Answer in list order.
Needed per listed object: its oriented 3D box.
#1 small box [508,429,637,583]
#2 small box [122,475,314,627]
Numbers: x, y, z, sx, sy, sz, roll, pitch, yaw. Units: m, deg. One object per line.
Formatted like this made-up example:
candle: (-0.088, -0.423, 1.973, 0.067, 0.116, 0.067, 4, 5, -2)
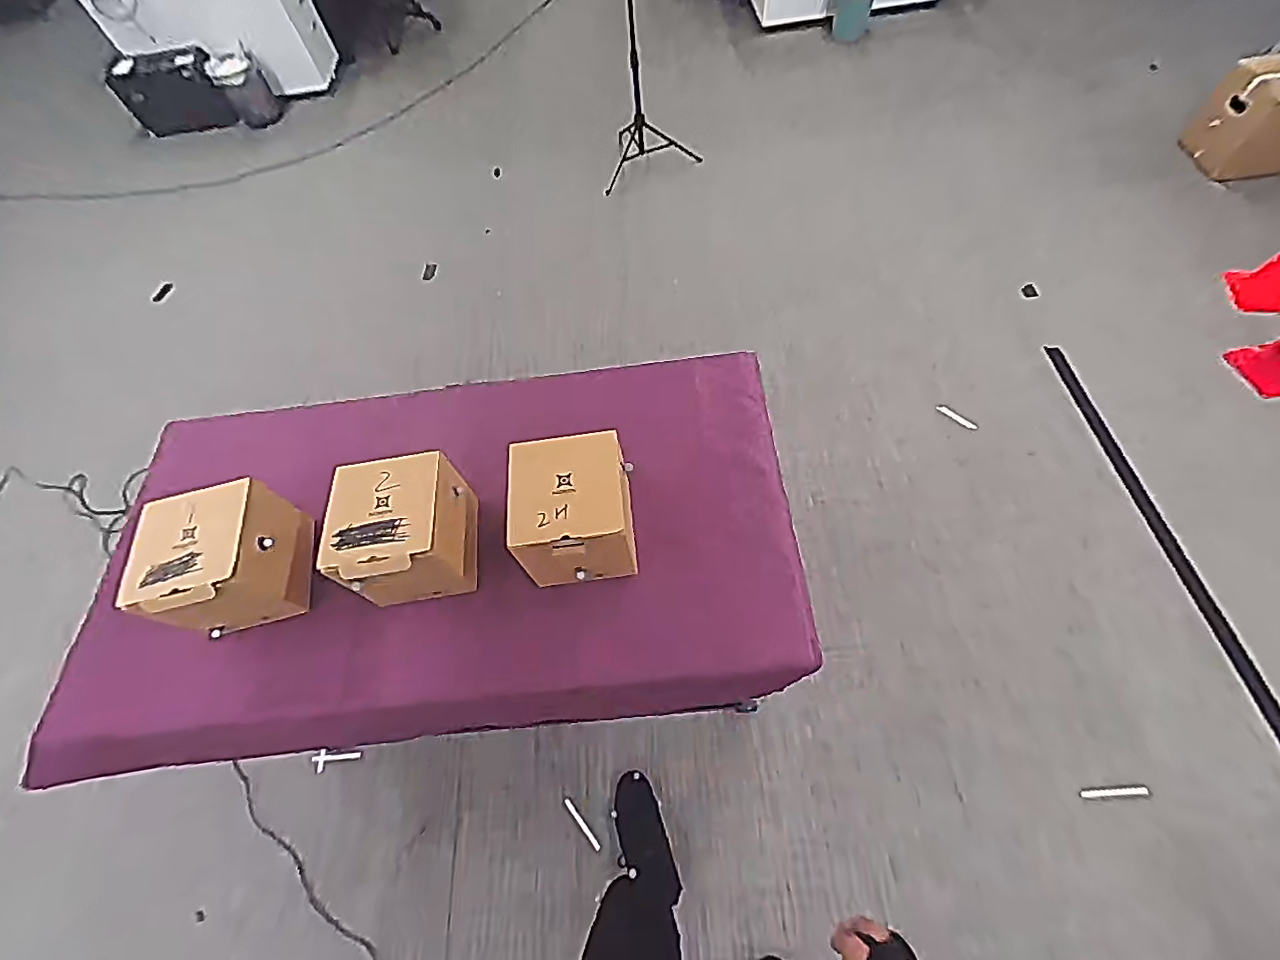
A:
small box: (-0.098, 0.045, 0.844, 0.168, 0.176, 0.179, -7, 60, 3)
small box: (-0.650, 0.122, 0.861, 0.168, 0.176, 0.179, -14, 59, -2)
